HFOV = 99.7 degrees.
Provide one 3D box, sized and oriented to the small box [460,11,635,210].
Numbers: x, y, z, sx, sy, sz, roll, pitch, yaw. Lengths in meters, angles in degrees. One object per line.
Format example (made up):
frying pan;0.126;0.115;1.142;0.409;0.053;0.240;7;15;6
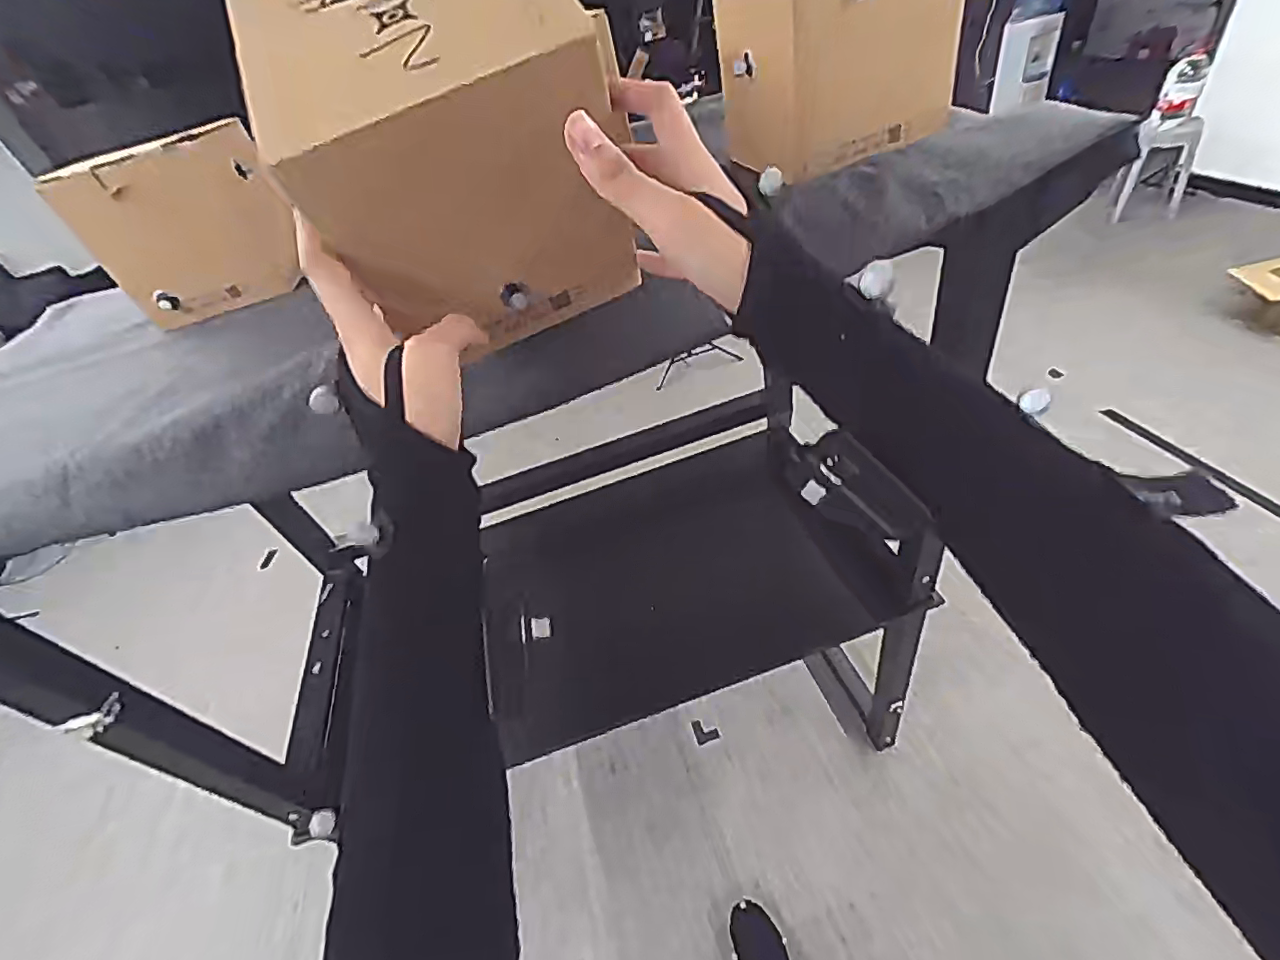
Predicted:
small box;-0.117;-0.469;0.693;0.168;0.176;0.179;-19;42;-2

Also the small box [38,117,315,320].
small box;-0.537;-0.317;0.665;0.168;0.176;0.179;-19;41;-3
